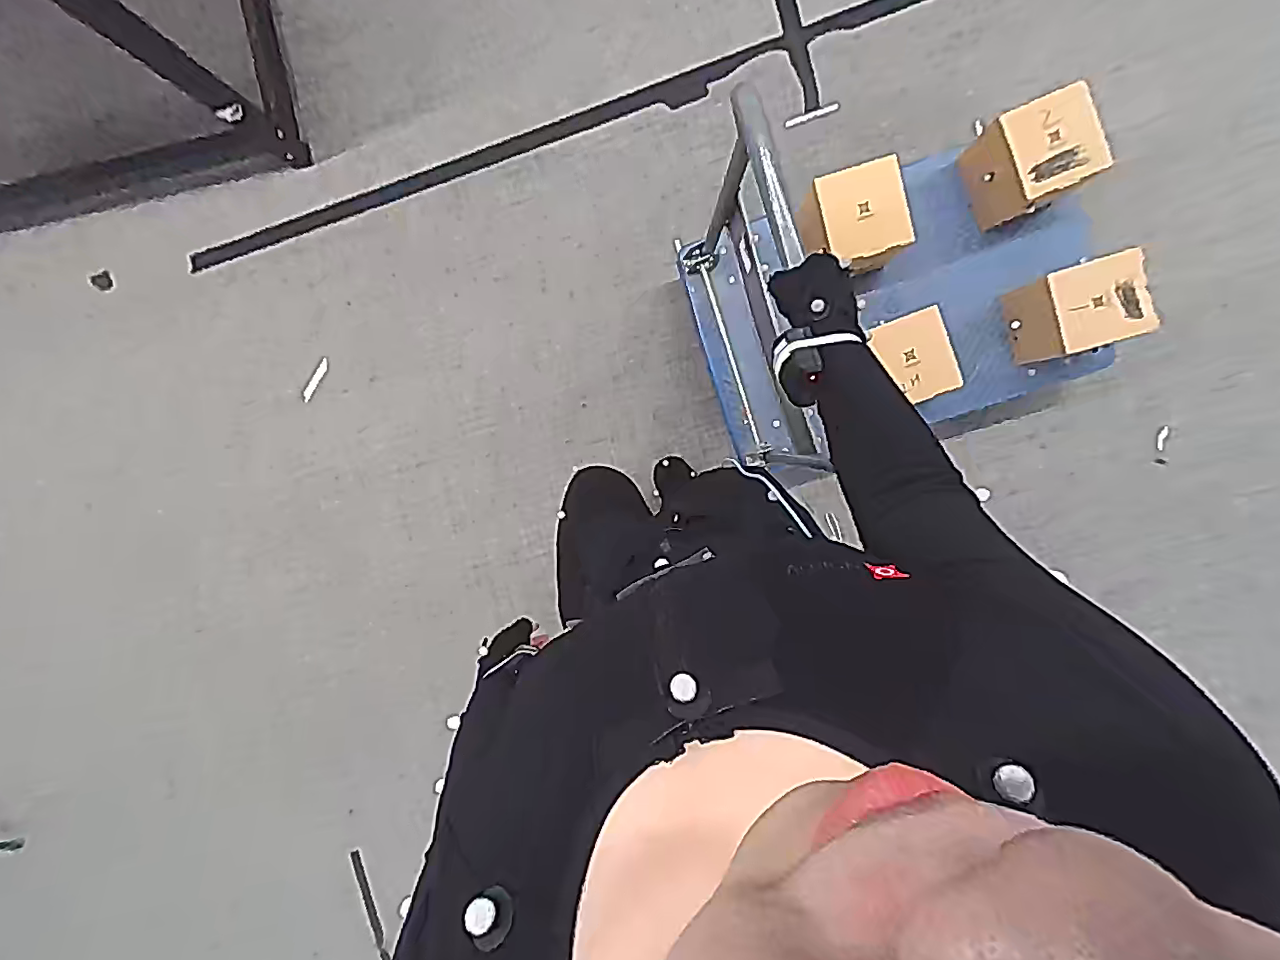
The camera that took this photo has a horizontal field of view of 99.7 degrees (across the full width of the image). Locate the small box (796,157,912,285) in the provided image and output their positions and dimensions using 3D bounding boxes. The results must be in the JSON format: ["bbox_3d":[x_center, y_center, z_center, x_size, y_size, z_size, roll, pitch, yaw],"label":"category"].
[{"bbox_3d":[0.446,-0.542,1.155,0.168,0.176,0.179,-15,95,4],"label":"small box"}]

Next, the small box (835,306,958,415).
[{"bbox_3d":[0.544,-0.249,1.173,0.168,0.176,0.179,-19,93,5],"label":"small box"}]

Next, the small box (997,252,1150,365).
[{"bbox_3d":[0.902,-0.352,1.140,0.179,0.176,0.168,-16,93,6],"label":"small box"}]
